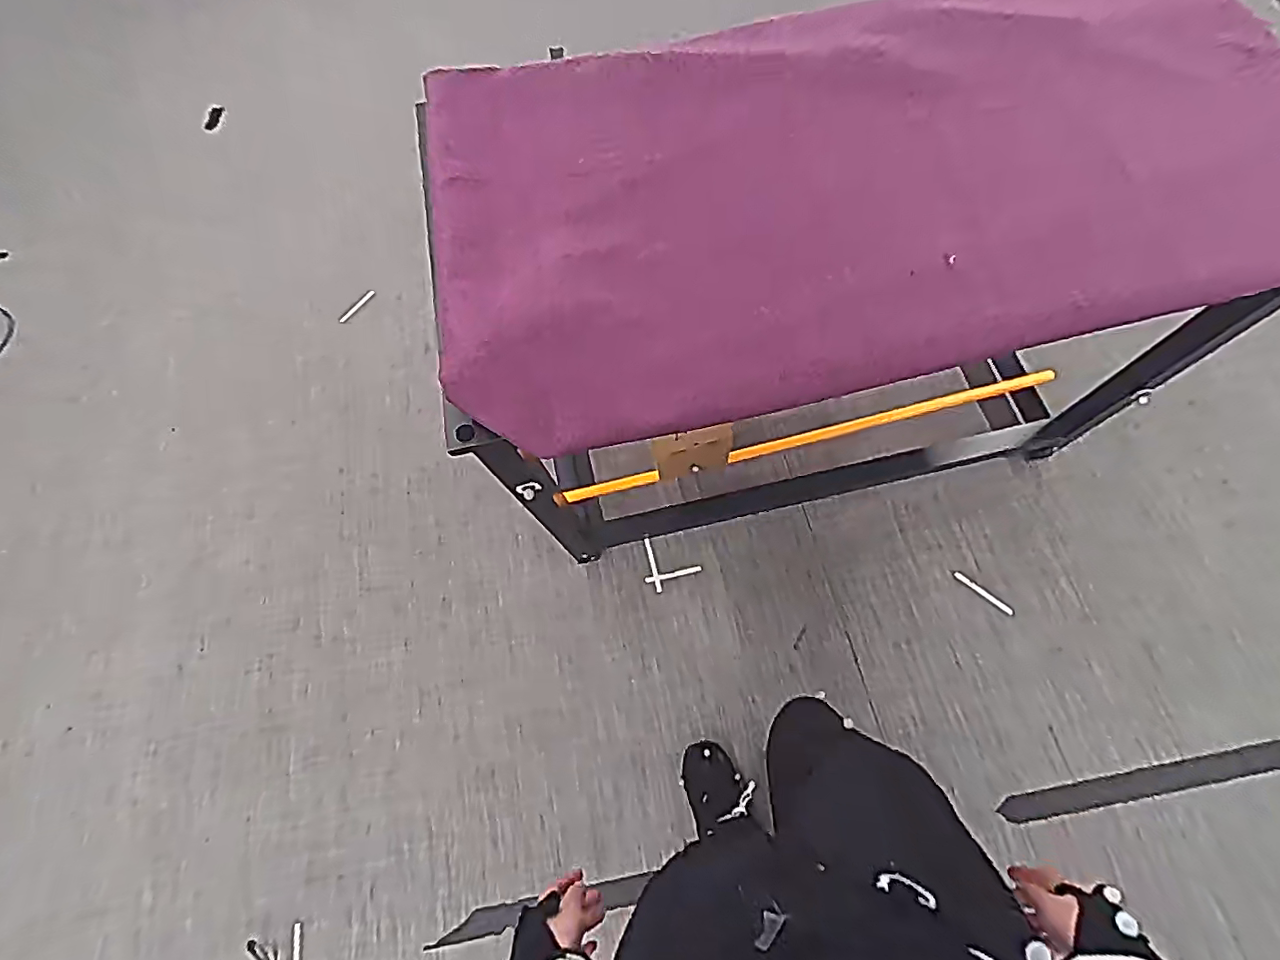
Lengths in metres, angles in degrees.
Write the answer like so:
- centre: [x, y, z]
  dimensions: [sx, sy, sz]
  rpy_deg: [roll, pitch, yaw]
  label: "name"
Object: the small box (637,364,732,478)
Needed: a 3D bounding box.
- centre: [0.094, -0.125, 1.207]
  dimensions: [0.168, 0.176, 0.179]
  rpy_deg: [-16, 71, -1]
  label: "small box"
